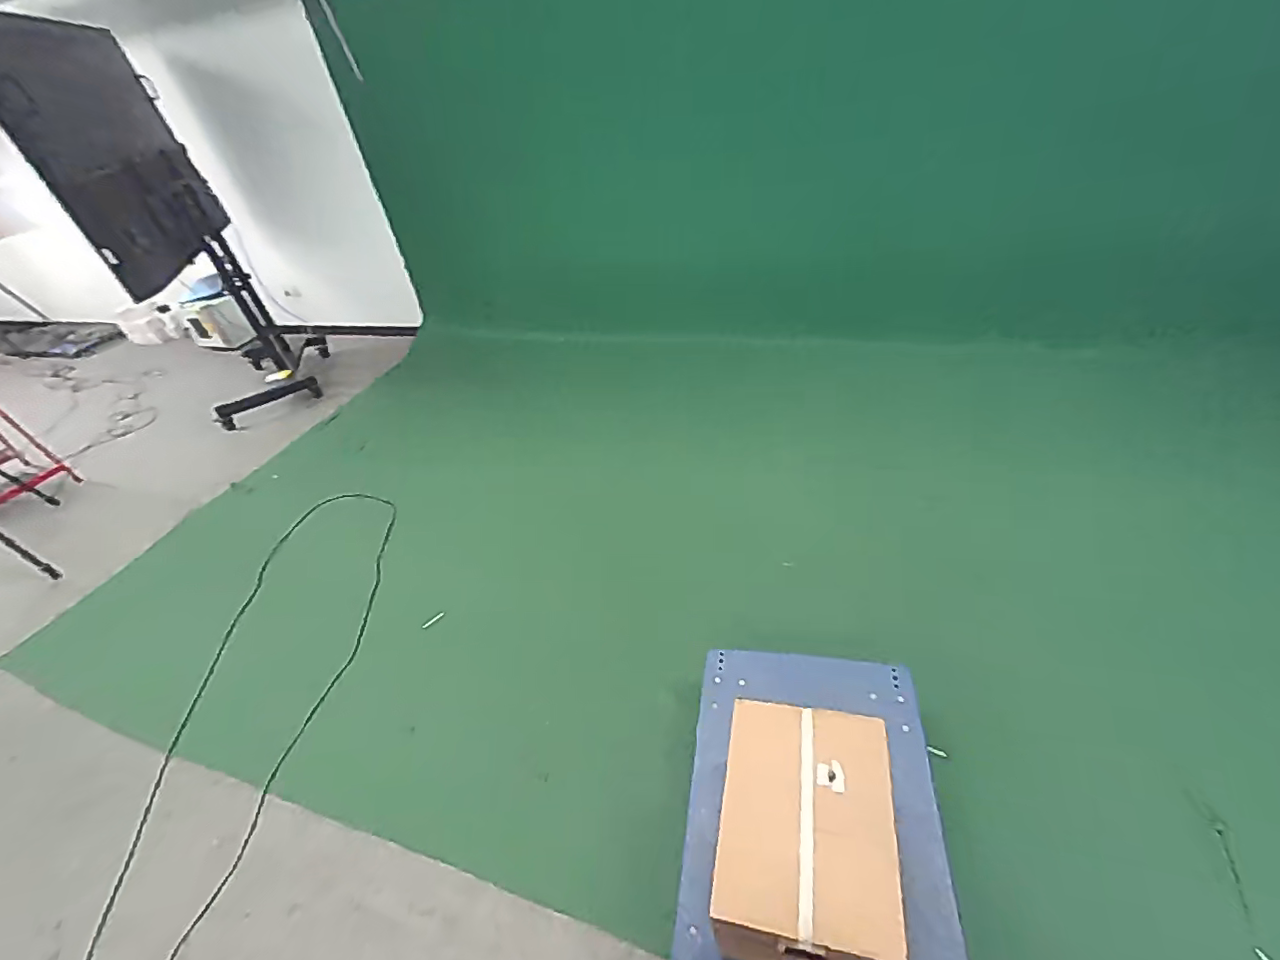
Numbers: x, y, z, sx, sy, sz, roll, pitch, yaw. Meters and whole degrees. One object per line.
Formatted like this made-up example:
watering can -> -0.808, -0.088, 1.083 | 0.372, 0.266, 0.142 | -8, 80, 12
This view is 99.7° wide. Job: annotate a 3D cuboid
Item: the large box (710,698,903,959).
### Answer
large box -> 0.334, 0.736, 1.124 | 0.320, 0.320, 0.408 | 3, 40, 16
